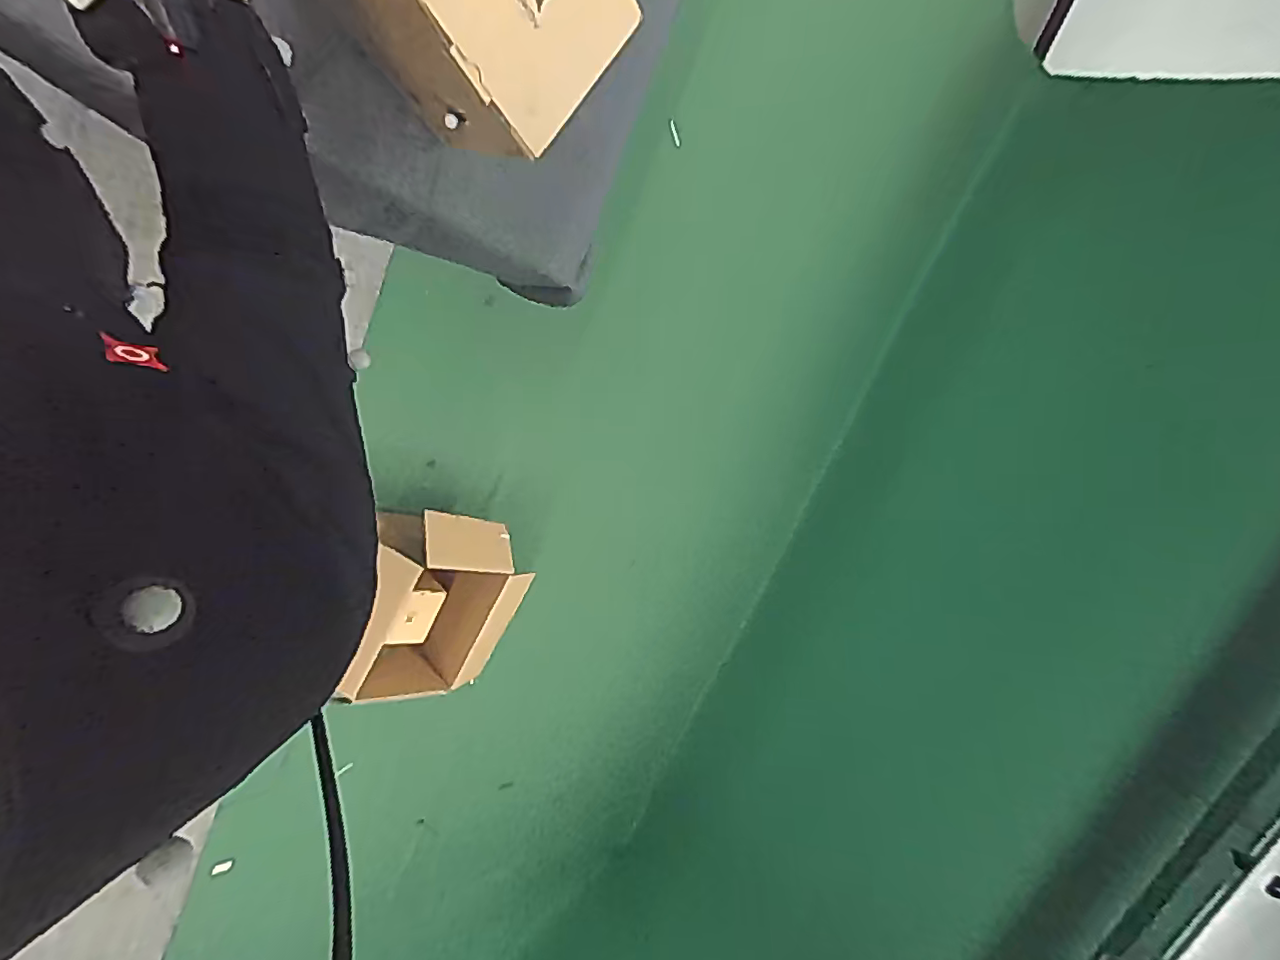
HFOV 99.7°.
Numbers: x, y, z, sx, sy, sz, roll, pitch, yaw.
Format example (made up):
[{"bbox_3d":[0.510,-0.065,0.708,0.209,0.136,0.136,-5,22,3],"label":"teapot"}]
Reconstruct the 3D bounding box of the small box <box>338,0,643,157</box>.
[{"bbox_3d":[-0.136,-0.422,0.474,0.179,0.176,0.168,-57,145,-4],"label":"small box"}]
